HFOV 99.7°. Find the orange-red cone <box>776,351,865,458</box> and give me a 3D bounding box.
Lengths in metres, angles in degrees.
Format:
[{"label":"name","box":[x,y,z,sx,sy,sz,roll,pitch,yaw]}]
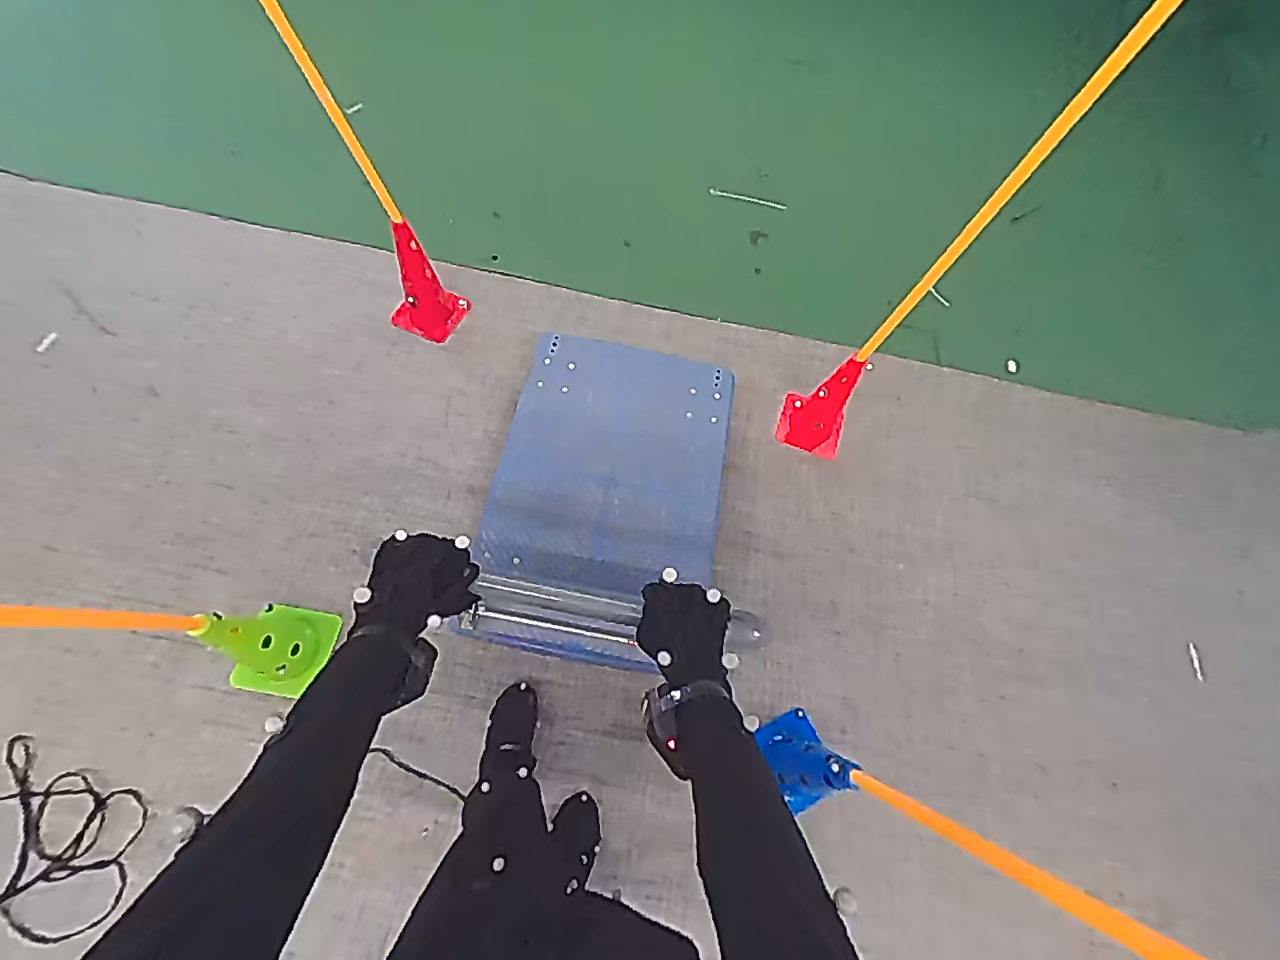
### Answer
[{"label":"orange-red cone","box":[0.563,-0.249,1.581,0.198,0.360,0.199,21,65,5]}]
